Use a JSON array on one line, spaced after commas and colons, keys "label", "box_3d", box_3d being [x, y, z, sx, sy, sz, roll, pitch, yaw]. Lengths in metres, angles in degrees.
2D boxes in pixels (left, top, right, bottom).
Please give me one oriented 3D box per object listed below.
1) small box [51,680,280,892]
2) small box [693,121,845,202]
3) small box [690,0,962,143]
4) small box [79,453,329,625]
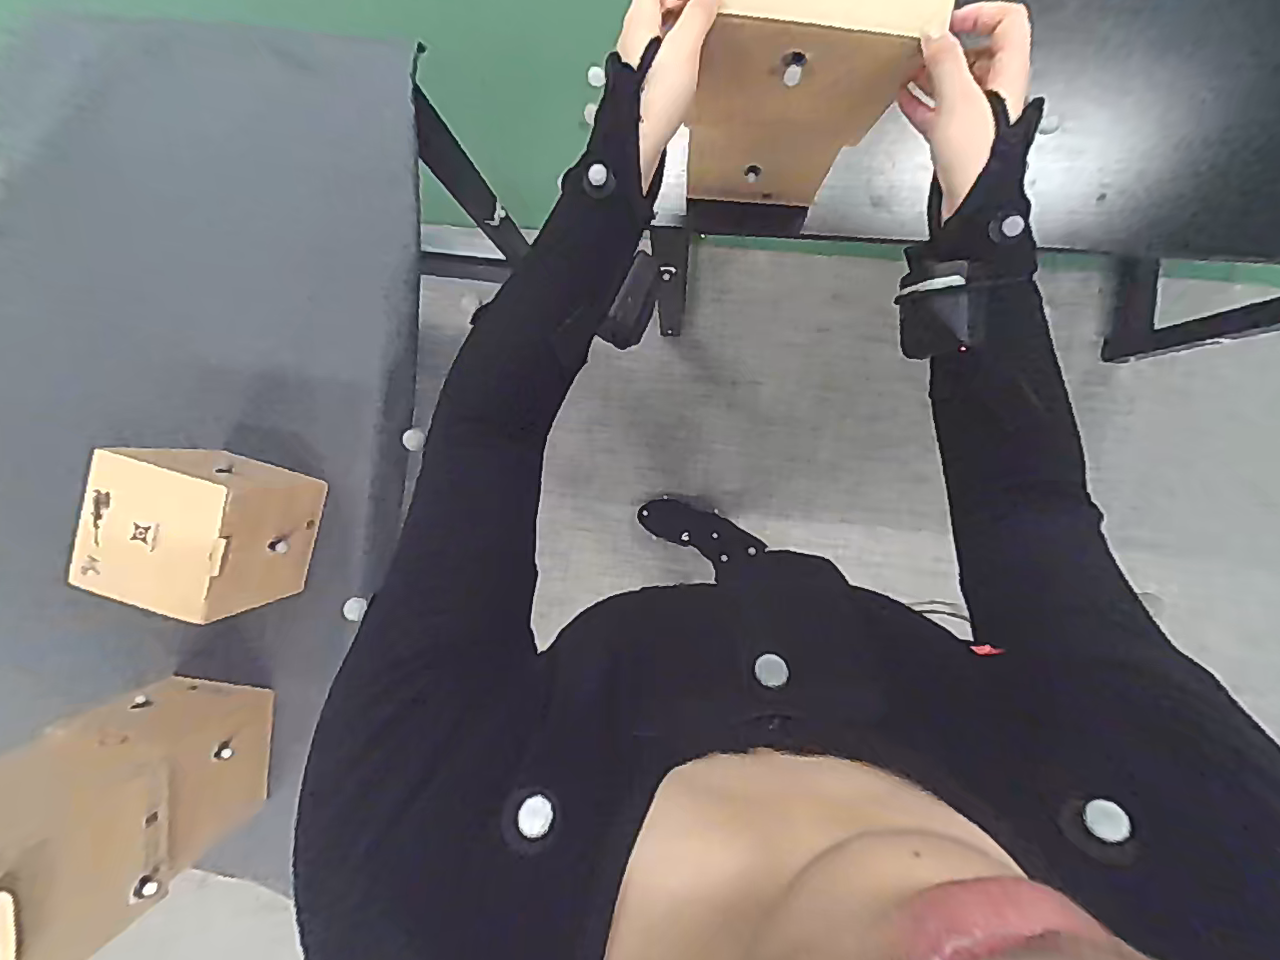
[{"label": "small box", "box_3d": [-0.615, 0.387, 0.717, 0.168, 0.176, 0.179, 5, 93, 6]}, {"label": "small box", "box_3d": [0.151, -0.446, 0.623, 0.168, 0.176, 0.179, 6, 93, 3]}, {"label": "small box", "box_3d": [0.142, -0.401, 0.437, 0.179, 0.176, 0.168, 7, 100, 1]}, {"label": "small box", "box_3d": [-0.542, 0.062, 0.697, 0.179, 0.176, 0.168, 16, 94, 4]}]
